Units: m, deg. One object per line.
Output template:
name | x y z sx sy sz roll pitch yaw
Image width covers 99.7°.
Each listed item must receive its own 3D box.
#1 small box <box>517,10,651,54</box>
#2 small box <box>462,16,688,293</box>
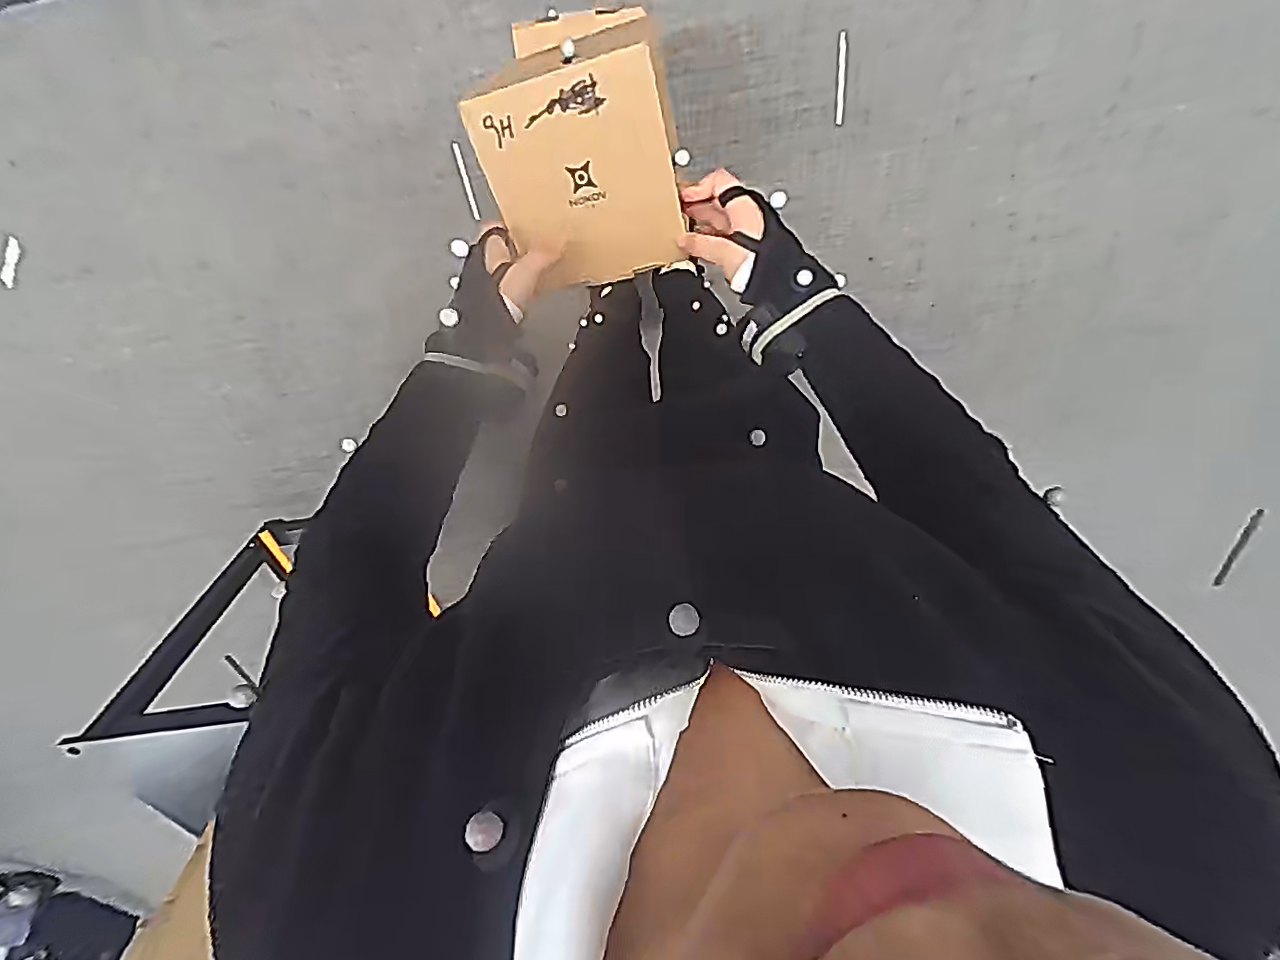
small box | -0.064 -0.528 0.760 0.168 0.176 0.179 -5 127 3
small box | -0.045 -0.322 0.543 0.168 0.176 0.179 -8 136 12
